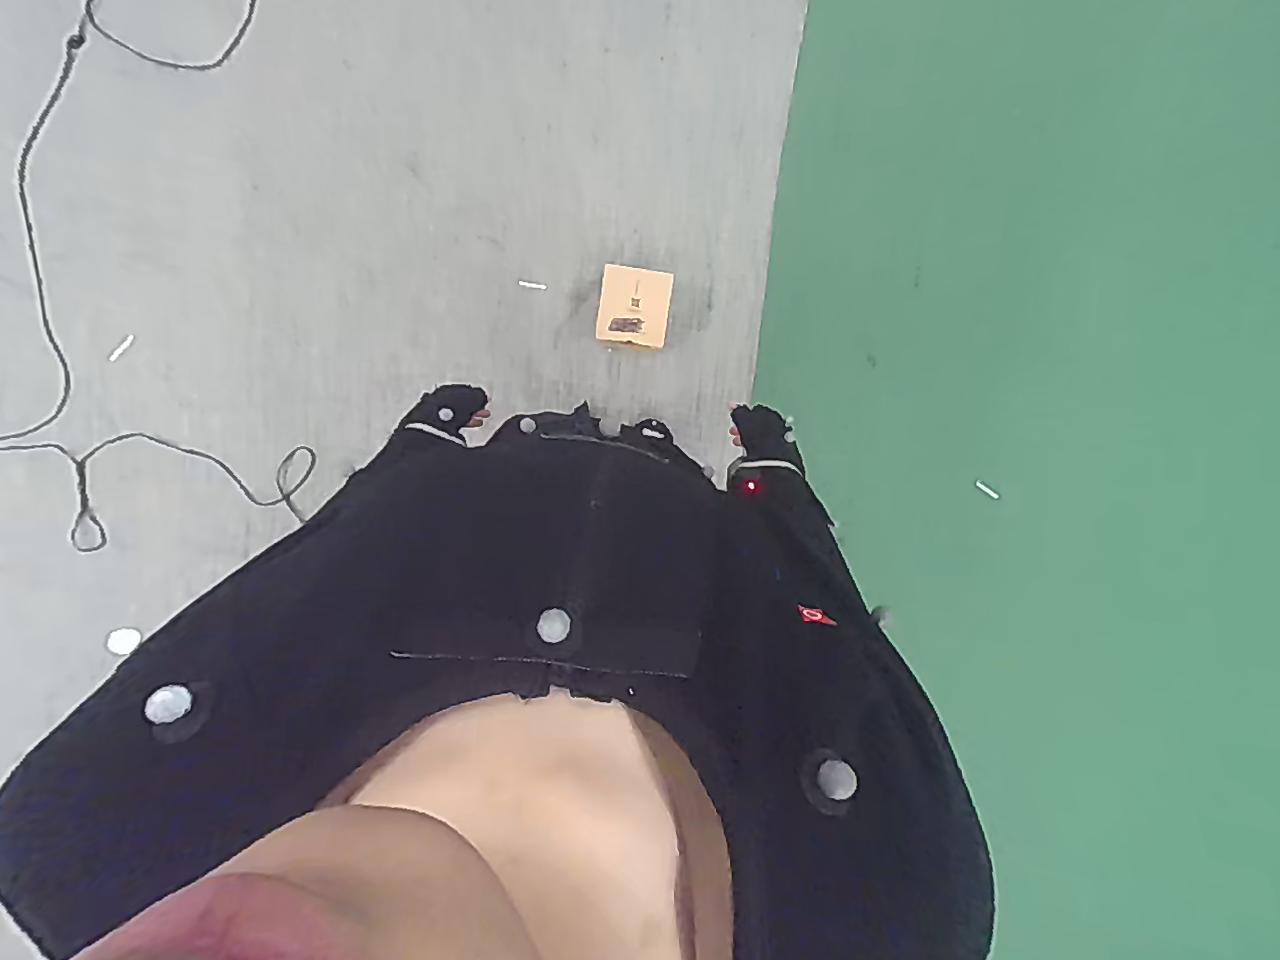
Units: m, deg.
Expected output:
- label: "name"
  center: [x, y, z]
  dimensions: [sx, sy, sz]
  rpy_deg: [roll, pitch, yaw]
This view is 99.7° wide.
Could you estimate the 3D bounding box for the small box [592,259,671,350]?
- label: "small box"
  center: [-0.020, -0.426, 1.342]
  dimensions: [0.168, 0.176, 0.179]
  rpy_deg: [8, 97, -2]
